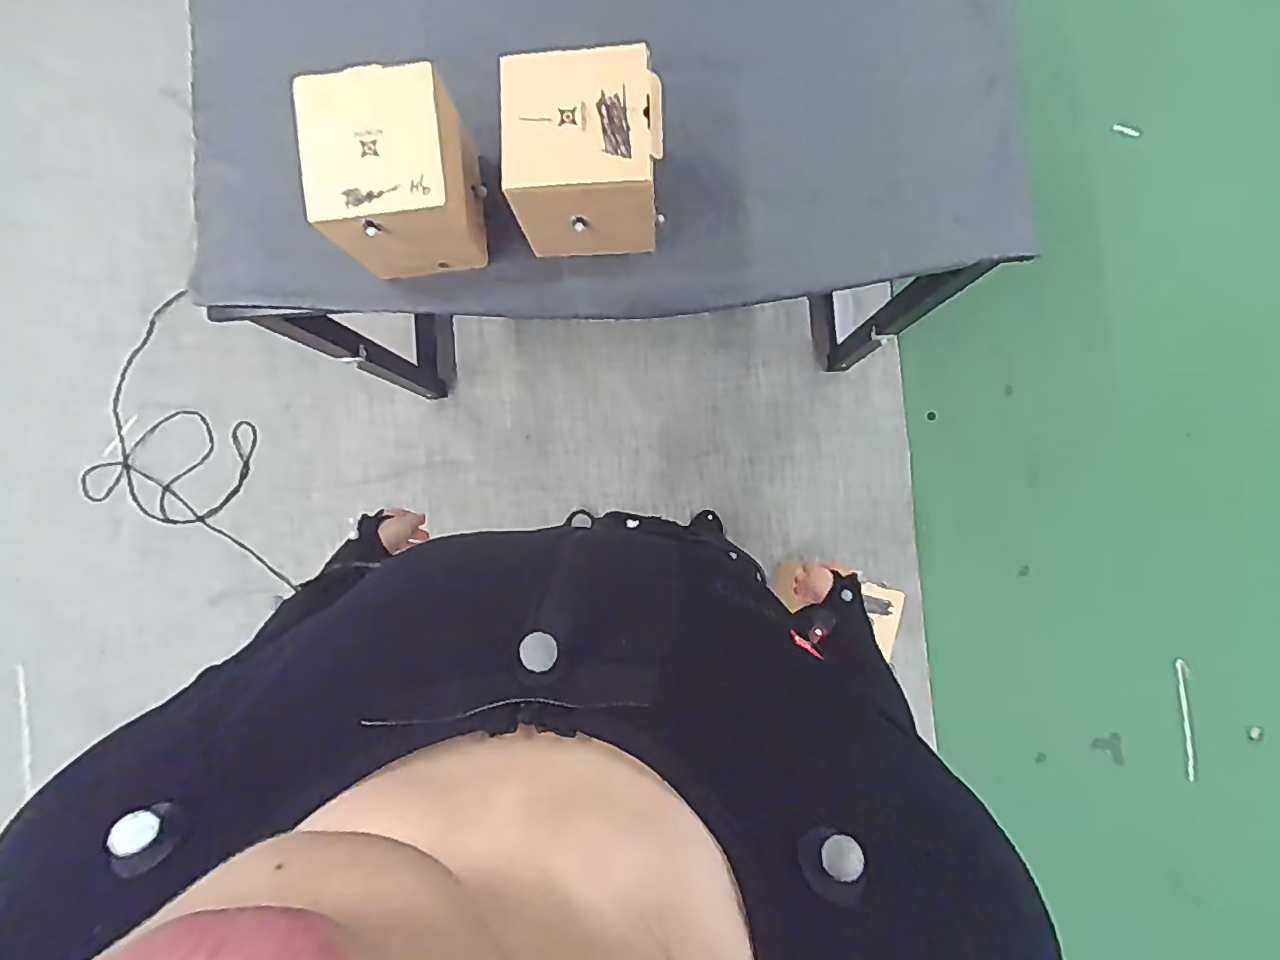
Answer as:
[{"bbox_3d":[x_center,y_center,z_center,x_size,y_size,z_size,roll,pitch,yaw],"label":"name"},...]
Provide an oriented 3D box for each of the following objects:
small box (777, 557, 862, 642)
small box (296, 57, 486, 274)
[{"bbox_3d":[0.454,0.300,1.391,0.168,0.176,0.179,4,89,2],"label":"small box"},{"bbox_3d":[-0.310,-0.394,0.704,0.168,0.176,0.179,-6,88,2],"label":"small box"}]
